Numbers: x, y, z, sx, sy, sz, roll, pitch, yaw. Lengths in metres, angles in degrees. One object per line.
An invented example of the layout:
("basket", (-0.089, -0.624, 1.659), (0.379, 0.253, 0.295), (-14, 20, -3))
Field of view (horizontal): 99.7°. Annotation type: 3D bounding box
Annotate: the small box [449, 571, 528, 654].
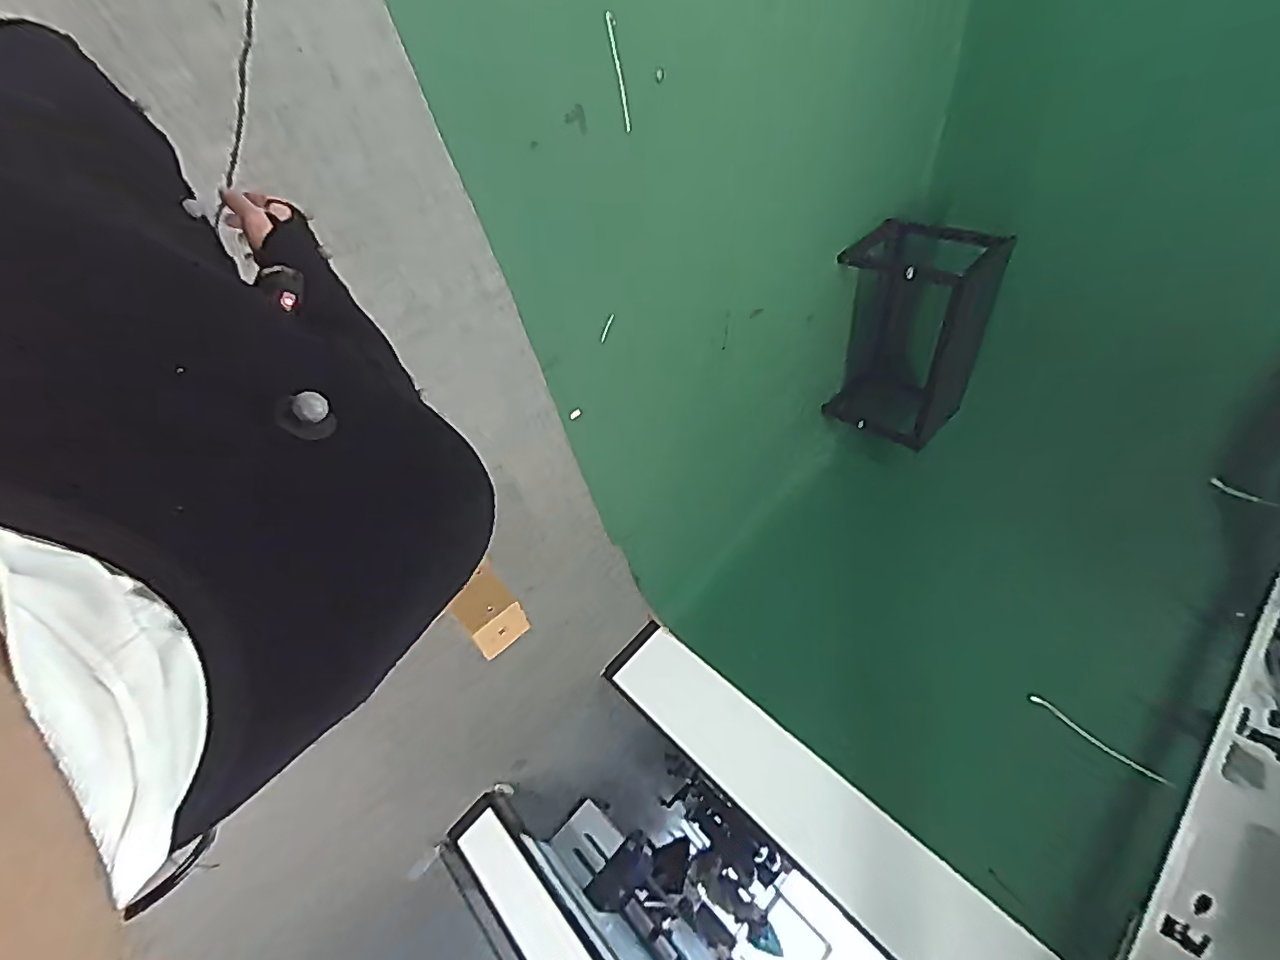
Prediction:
("small box", (-0.512, 0.443, 1.829), (0.179, 0.176, 0.168), (-36, 139, -26))
